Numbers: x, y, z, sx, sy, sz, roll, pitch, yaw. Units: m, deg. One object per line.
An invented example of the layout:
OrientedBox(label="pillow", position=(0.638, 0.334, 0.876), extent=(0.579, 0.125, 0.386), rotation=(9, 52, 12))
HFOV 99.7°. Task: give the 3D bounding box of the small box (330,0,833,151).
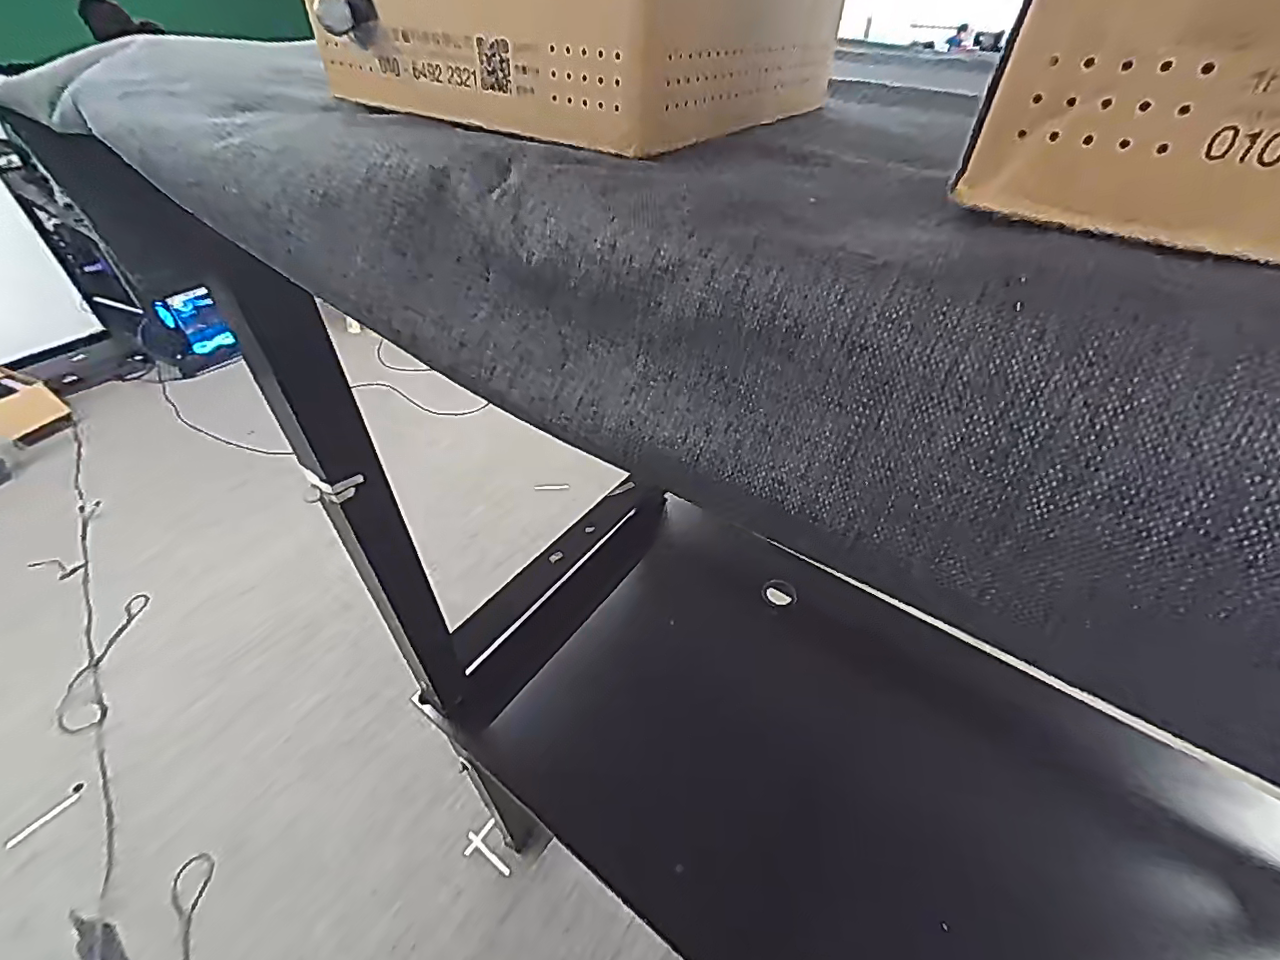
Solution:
OrientedBox(label="small box", position=(-0.016, -0.240, 0.208), extent=(0.168, 0.176, 0.179), rotation=(25, 45, 23))
